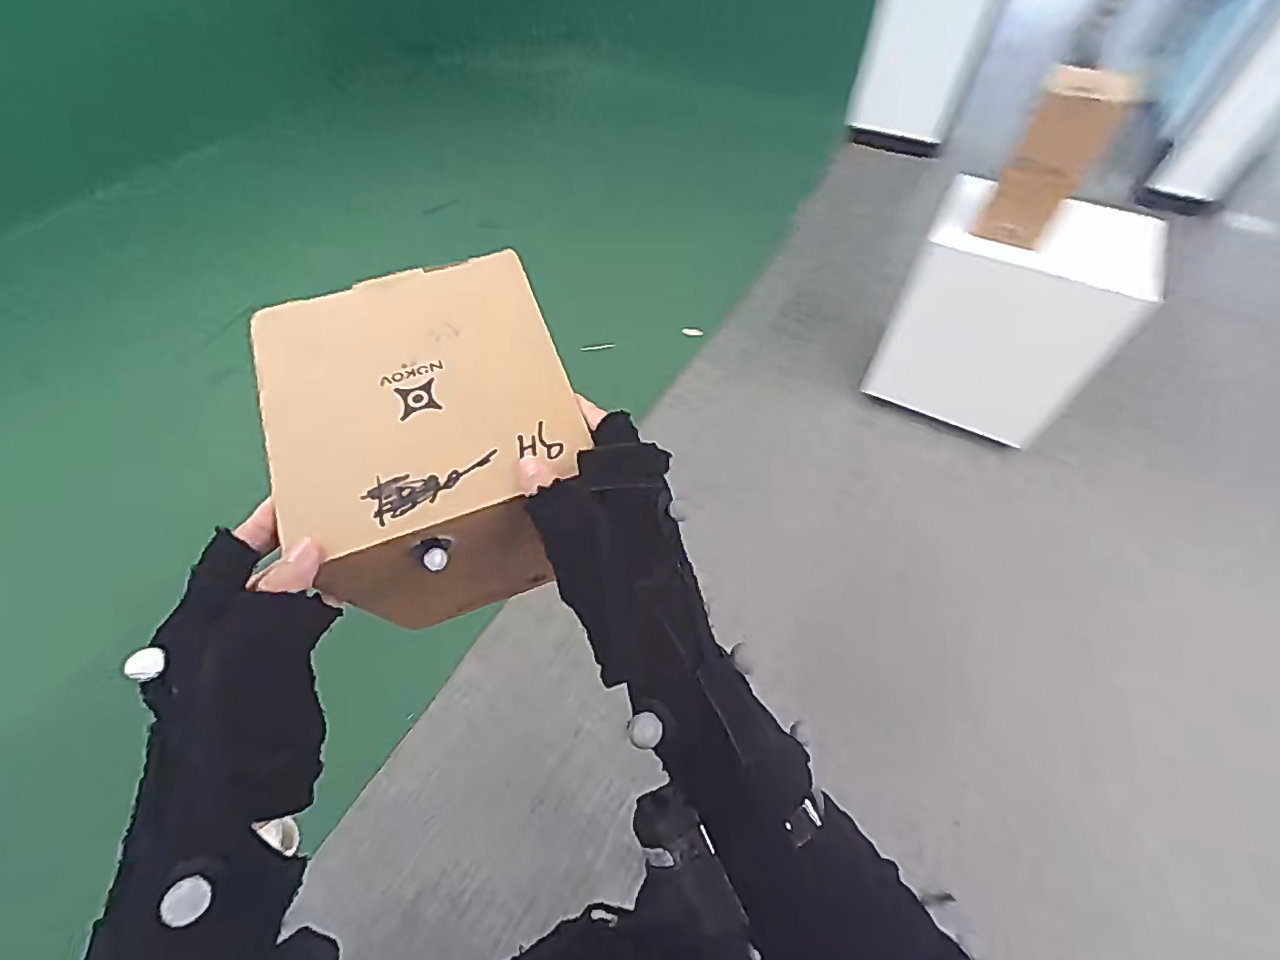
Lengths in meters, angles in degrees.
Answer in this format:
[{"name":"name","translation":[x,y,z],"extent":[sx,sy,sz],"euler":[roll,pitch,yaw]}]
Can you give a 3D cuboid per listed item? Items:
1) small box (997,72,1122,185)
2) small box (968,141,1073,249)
[{"name":"small box","translation":[0.963,-0.809,1.253],"extent":[0.168,0.176,0.179],"euler":[26,58,19]},{"name":"small box","translation":[0.965,-0.722,1.373],"extent":[0.168,0.176,0.179],"euler":[23,59,17]}]
